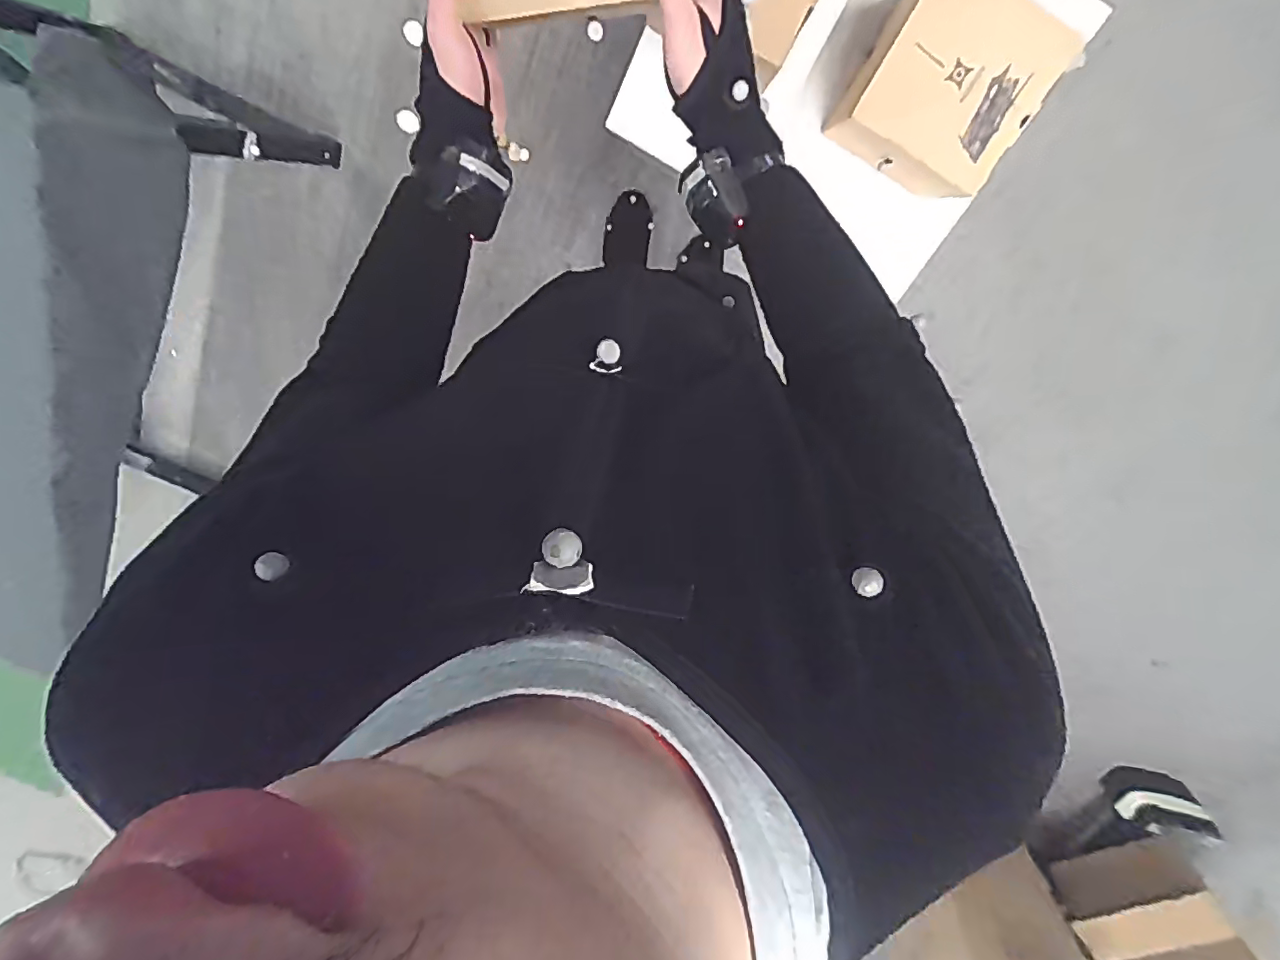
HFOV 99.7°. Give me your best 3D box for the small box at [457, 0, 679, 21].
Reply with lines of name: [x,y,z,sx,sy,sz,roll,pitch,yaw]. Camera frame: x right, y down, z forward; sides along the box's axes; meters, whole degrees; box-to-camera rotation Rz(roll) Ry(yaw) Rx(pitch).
small box: [-0.048,-0.452,0.395,0.179,0.176,0.168,-3,127,3]

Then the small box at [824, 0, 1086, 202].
small box: [0.353,-0.458,0.646,0.179,0.176,0.168,28,115,-8]

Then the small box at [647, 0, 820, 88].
small box: [0.118,-0.577,0.605,0.179,0.176,0.168,25,114,-8]
